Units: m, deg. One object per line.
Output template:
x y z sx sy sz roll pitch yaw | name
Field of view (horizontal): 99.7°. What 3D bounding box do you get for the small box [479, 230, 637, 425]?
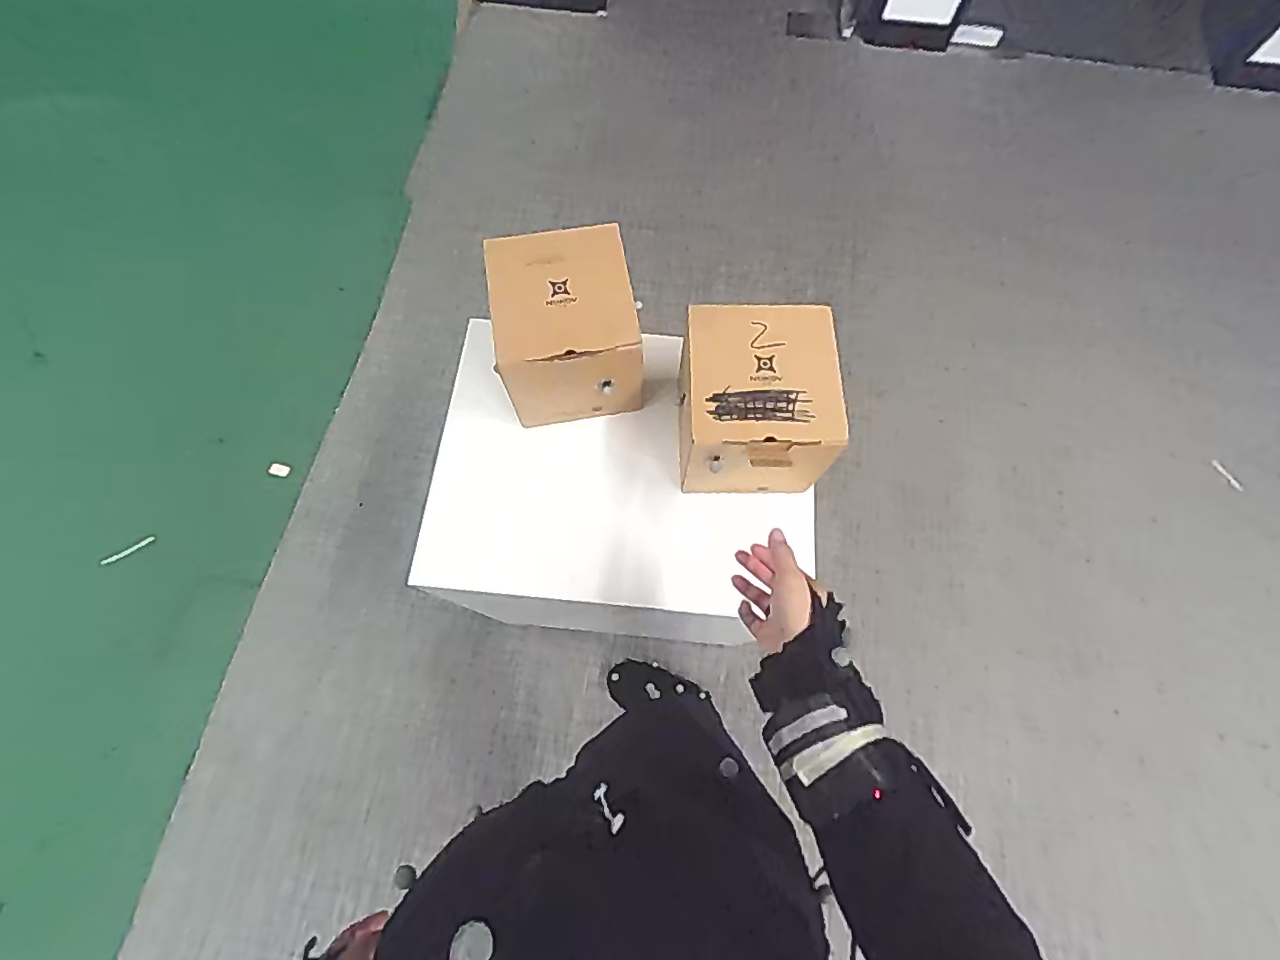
-0.097 -0.182 0.693 0.168 0.176 0.179 -10 71 -6 | small box
